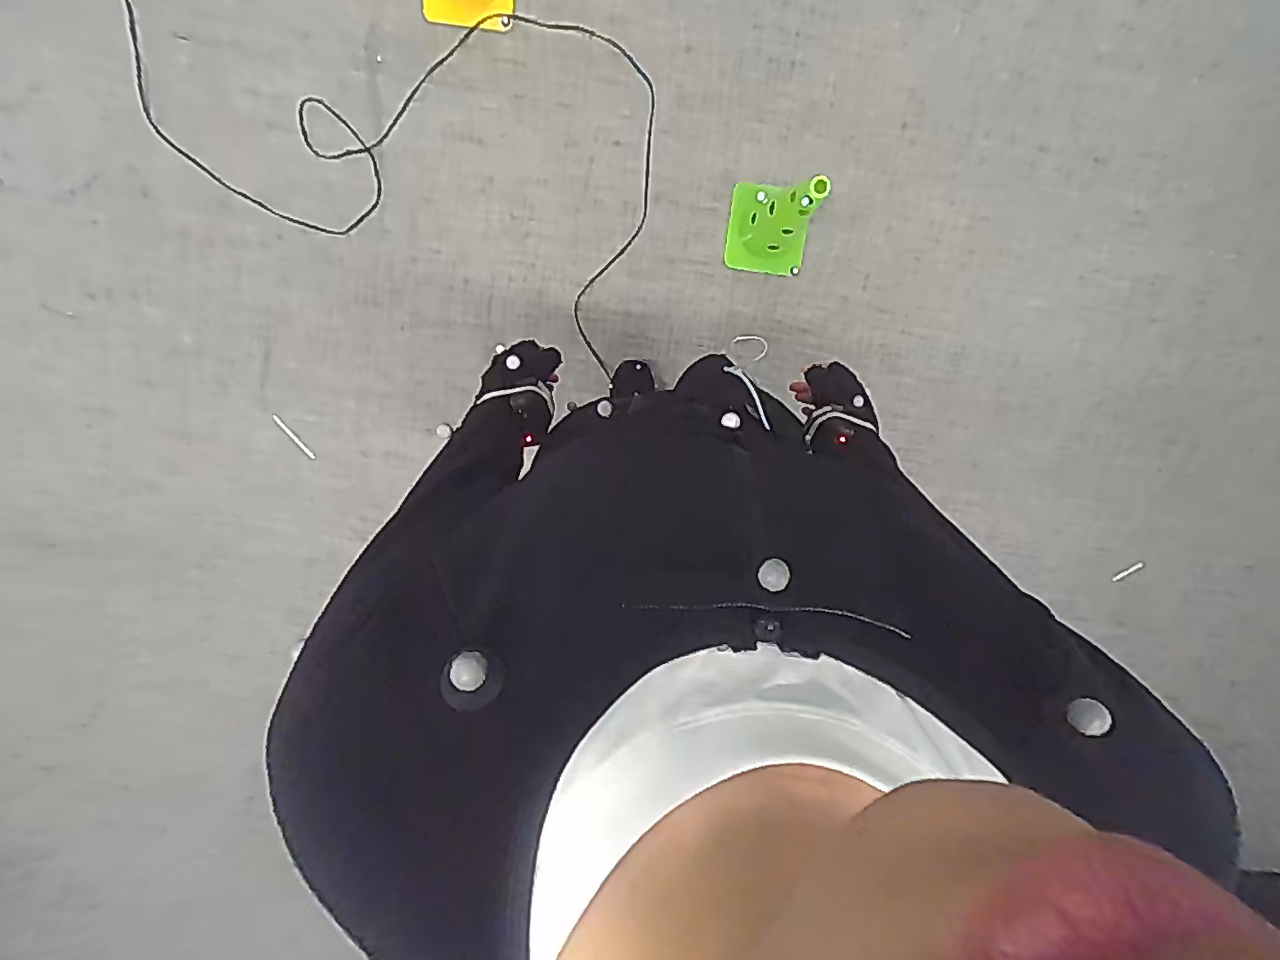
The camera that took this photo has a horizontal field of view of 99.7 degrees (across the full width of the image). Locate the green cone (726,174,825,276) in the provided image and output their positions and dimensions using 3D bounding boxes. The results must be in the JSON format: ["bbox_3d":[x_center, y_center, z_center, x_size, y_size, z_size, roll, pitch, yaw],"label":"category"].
[{"bbox_3d":[0.328,-0.590,1.184,0.202,0.368,0.200,6,101,-3],"label":"green cone"}]
